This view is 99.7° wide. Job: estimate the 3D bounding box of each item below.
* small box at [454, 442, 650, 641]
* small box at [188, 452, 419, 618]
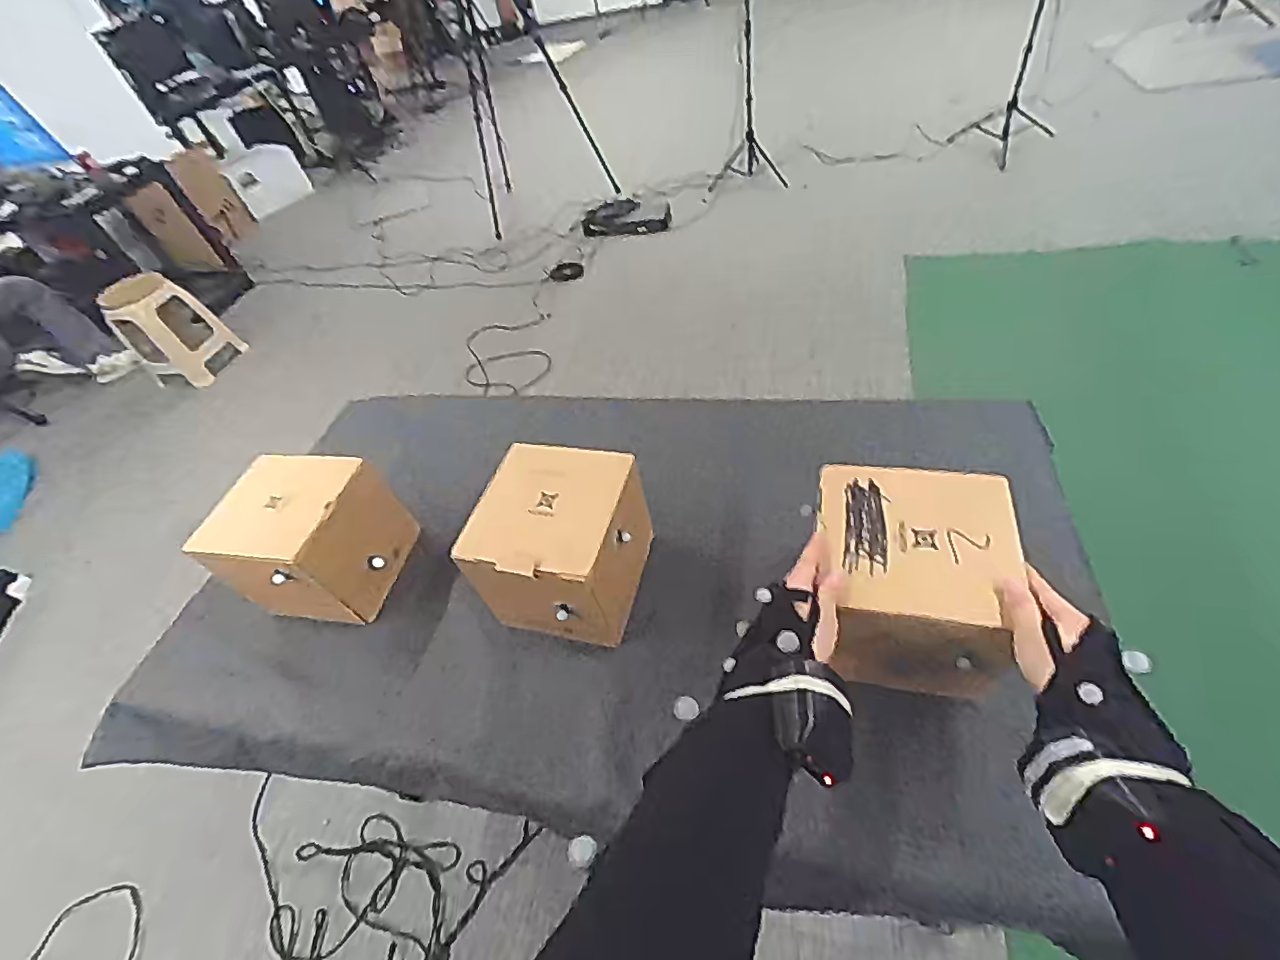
[{"bbox_3d":[-0.093,0.078,0.676,0.168,0.176,0.179,7,51,17],"label":"small box"},{"bbox_3d":[-0.451,0.078,0.757,0.179,0.176,0.168,2,50,14],"label":"small box"}]
